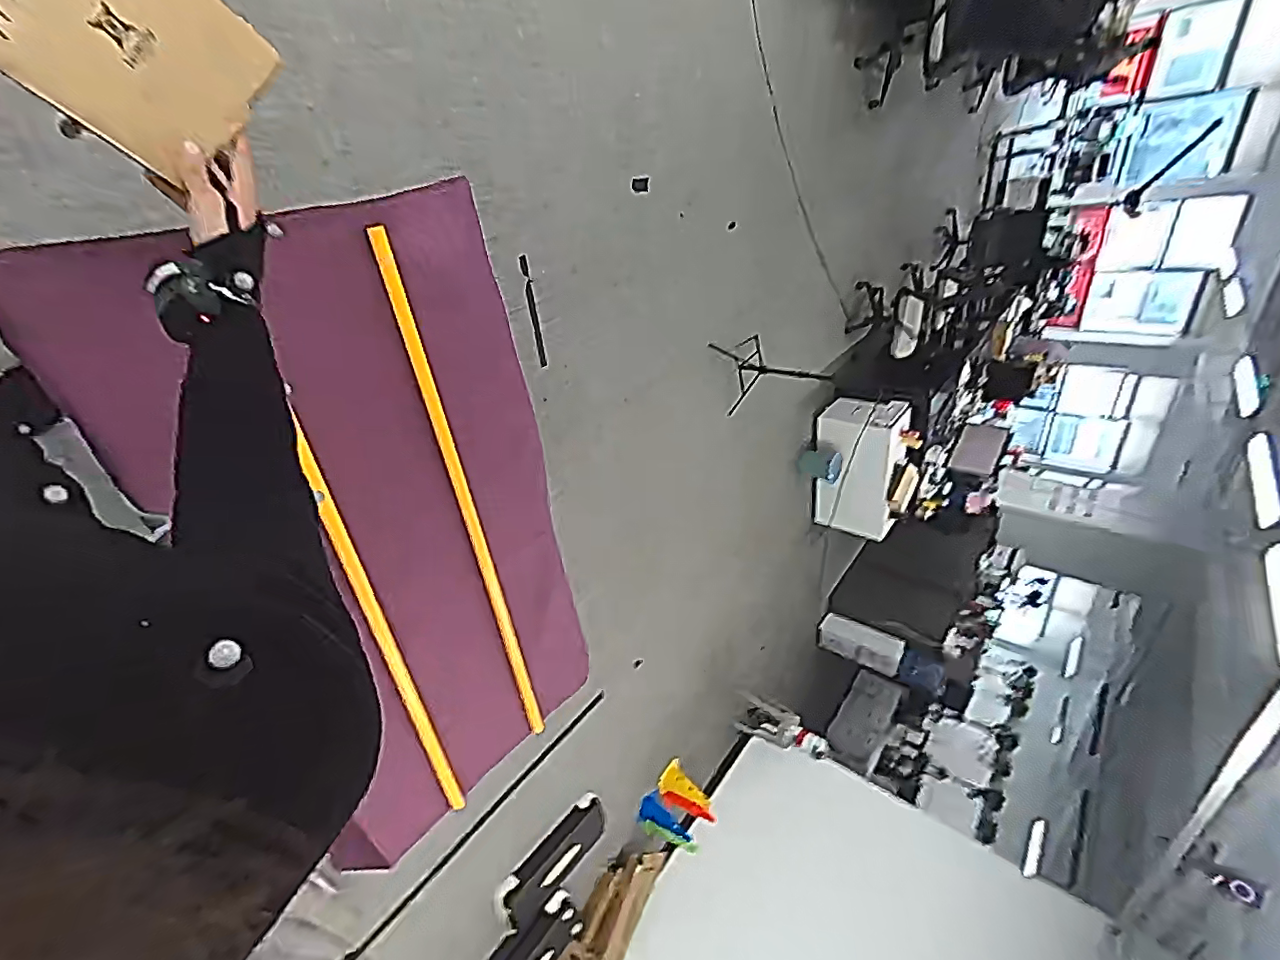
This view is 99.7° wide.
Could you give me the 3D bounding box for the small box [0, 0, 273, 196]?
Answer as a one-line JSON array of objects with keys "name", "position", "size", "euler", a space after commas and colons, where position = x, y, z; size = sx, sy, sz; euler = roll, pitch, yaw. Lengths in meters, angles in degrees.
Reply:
[{"name": "small box", "position": [-0.493, -0.404, 0.503], "size": [0.168, 0.176, 0.179], "euler": [-57, 141, 0]}]
